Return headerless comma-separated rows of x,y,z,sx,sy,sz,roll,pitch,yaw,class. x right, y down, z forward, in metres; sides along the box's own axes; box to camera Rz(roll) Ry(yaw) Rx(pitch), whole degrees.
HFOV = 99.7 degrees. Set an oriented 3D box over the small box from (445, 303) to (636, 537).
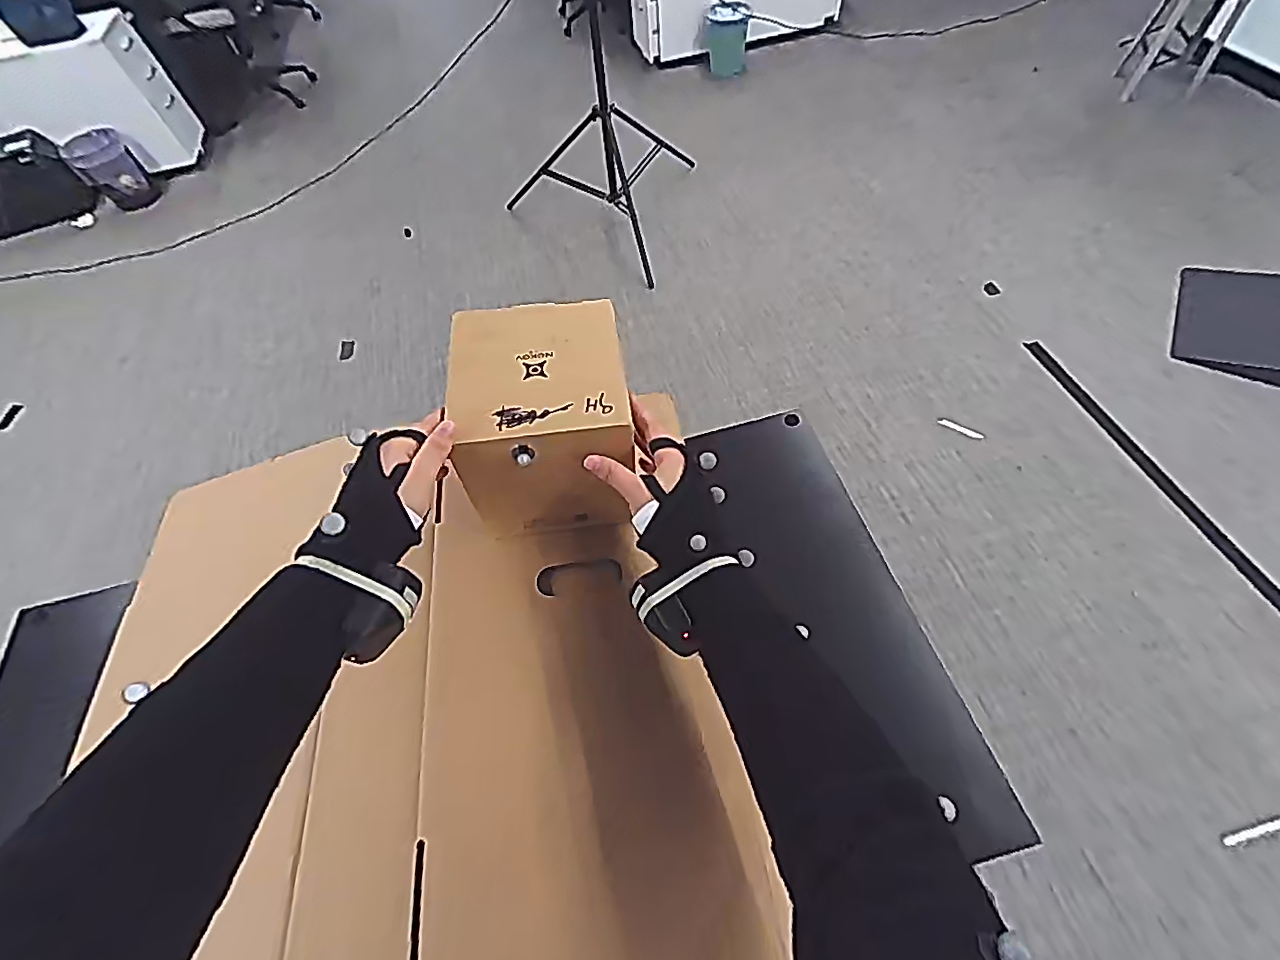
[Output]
-0.096,-0.061,0.579,0.168,0.176,0.179,-7,55,-4,small box
